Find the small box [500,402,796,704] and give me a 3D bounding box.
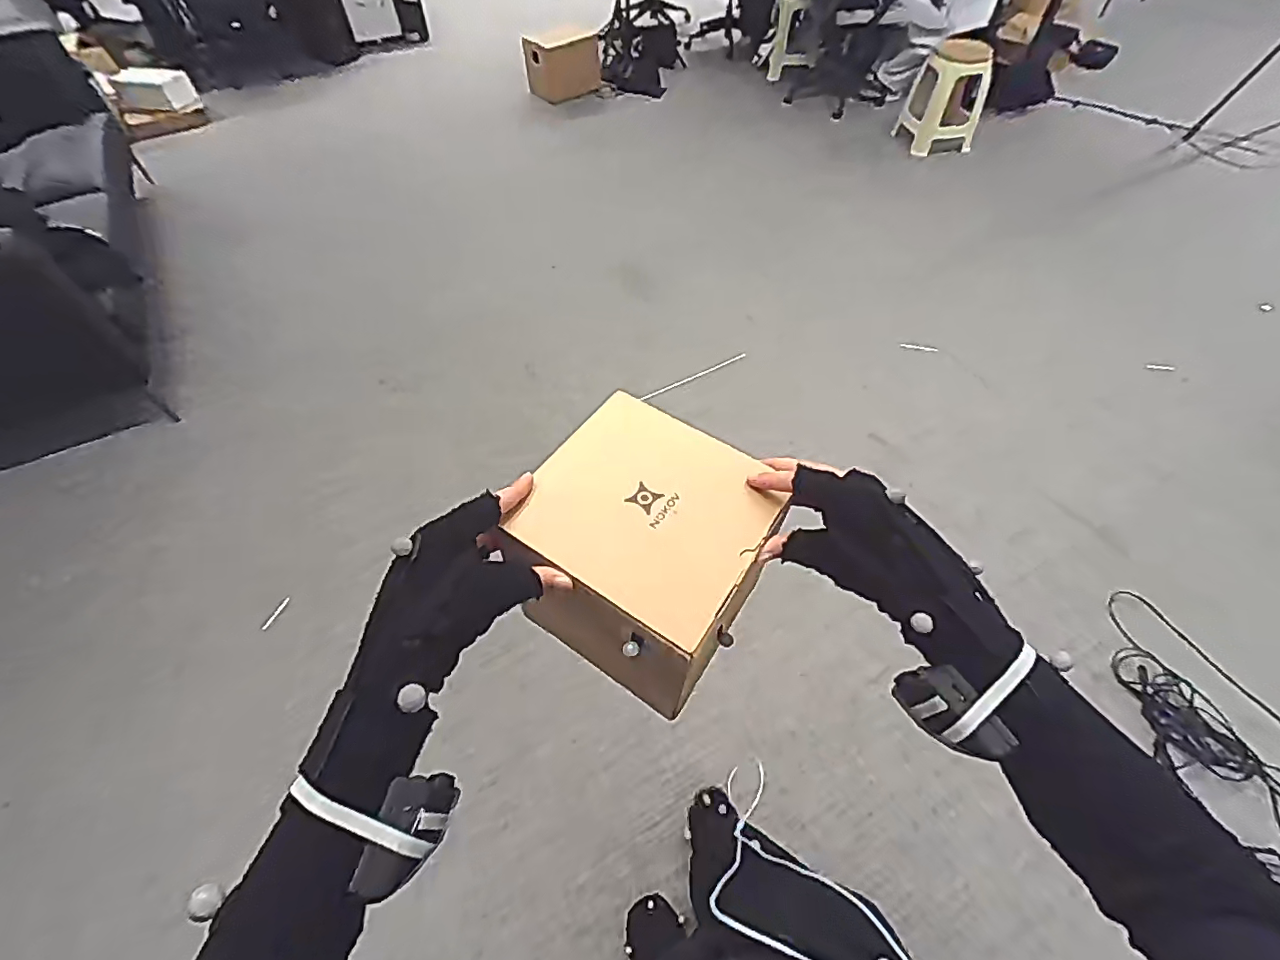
[{"bbox_3d":[0.006,0.069,0.480,0.179,0.176,0.168,30,58,18],"label":"small box"}]
